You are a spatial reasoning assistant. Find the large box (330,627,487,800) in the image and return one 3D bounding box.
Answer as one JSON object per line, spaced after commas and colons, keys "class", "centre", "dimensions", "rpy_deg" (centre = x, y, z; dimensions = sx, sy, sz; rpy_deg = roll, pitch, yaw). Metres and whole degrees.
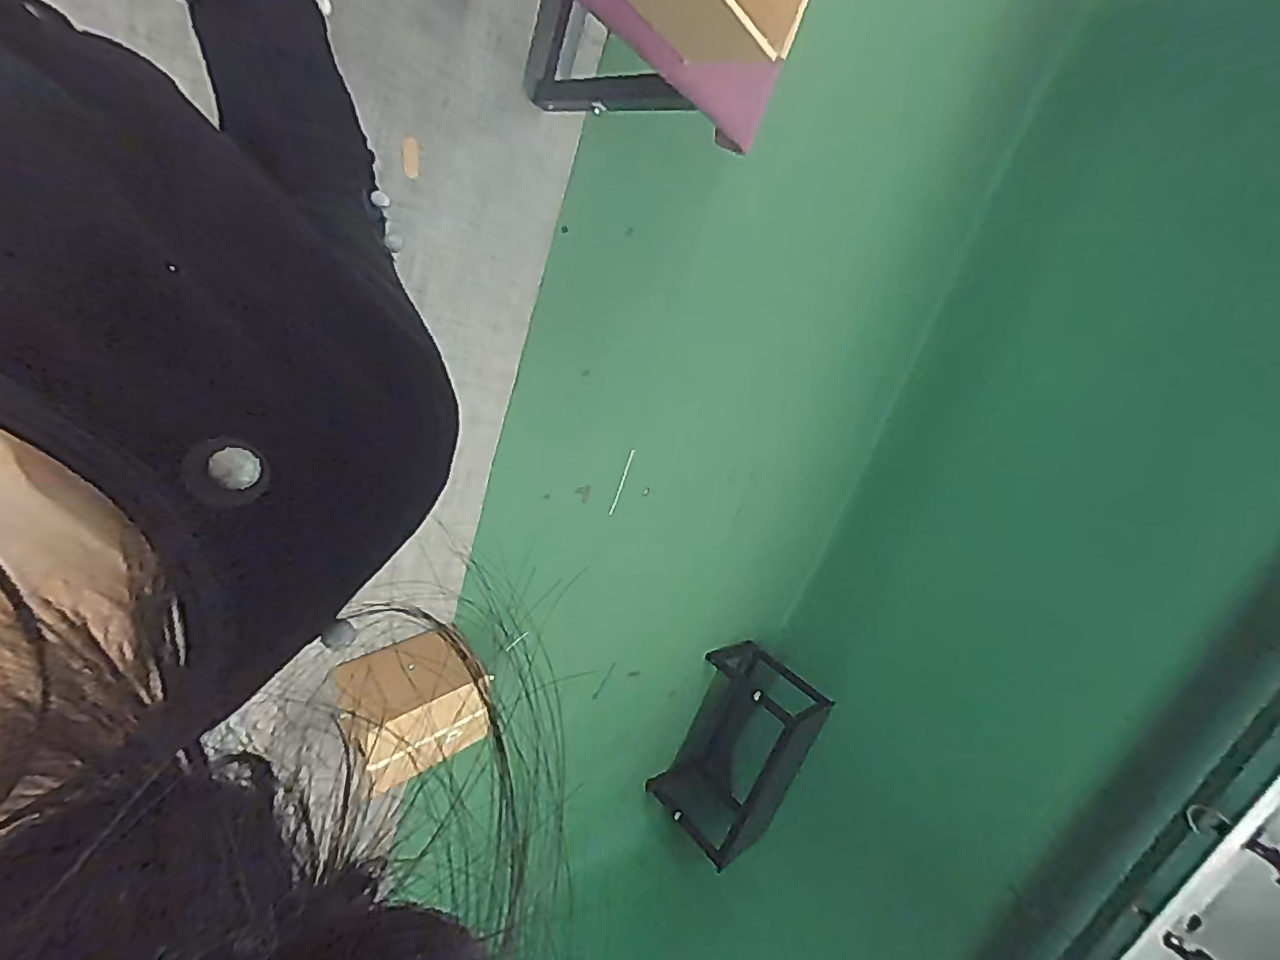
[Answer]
{"class": "large box", "centre": [-0.788, 0.780, 1.865], "dimensions": [0.408, 0.320, 0.320], "rpy_deg": [-16, 126, -42]}
